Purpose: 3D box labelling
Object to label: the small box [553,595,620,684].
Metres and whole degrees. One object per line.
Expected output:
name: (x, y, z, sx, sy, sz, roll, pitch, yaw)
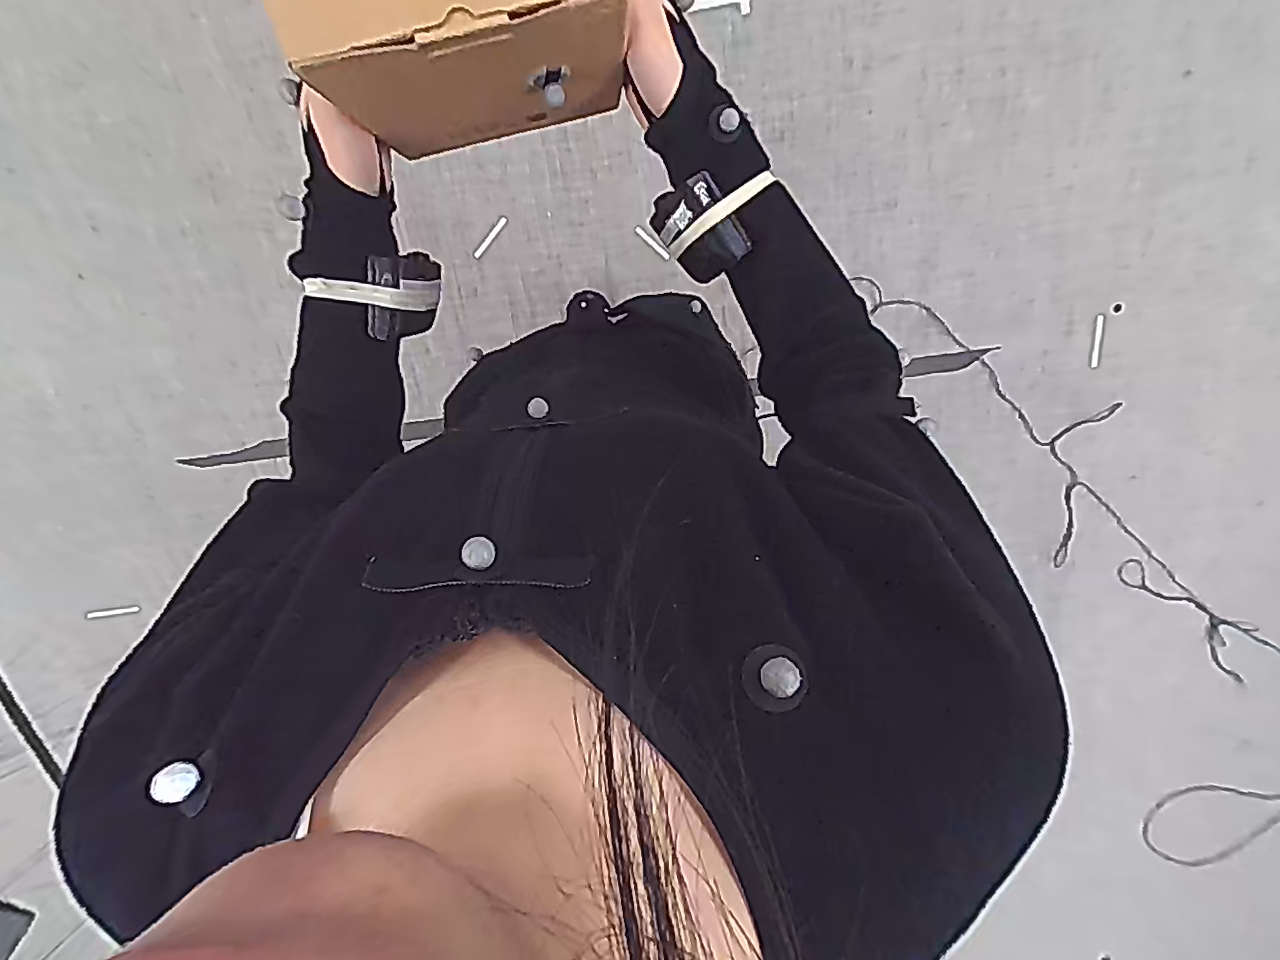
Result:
small box: (-0.150, 0.459, 1.573, 0.168, 0.176, 0.179, -9, 107, 0)
